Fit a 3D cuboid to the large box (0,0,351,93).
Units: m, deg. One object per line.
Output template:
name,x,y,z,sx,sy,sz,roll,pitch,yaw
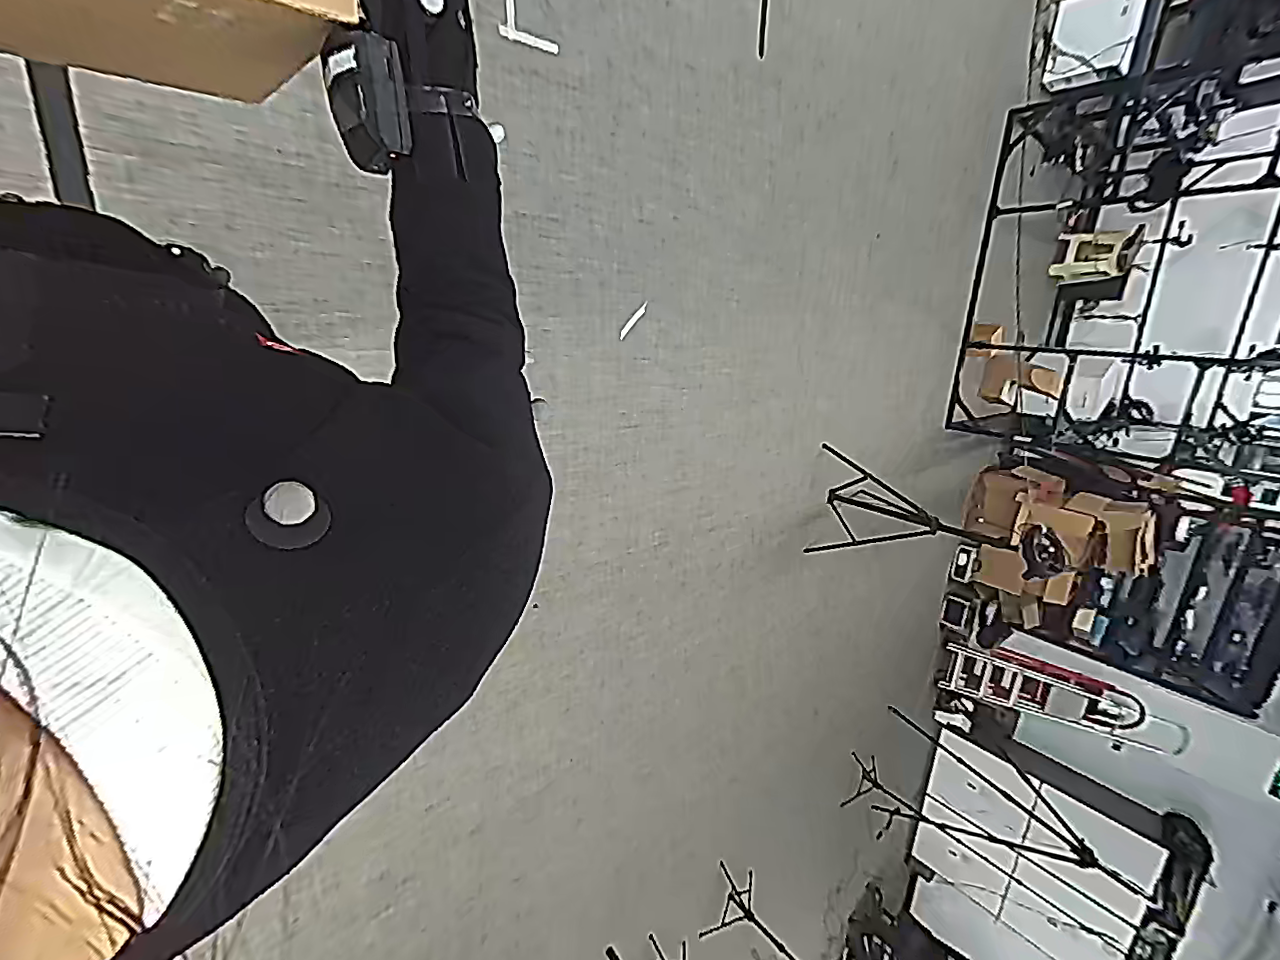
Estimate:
large box,-0.407,-0.416,0.235,0.408,0.320,0.320,-16,121,-40
